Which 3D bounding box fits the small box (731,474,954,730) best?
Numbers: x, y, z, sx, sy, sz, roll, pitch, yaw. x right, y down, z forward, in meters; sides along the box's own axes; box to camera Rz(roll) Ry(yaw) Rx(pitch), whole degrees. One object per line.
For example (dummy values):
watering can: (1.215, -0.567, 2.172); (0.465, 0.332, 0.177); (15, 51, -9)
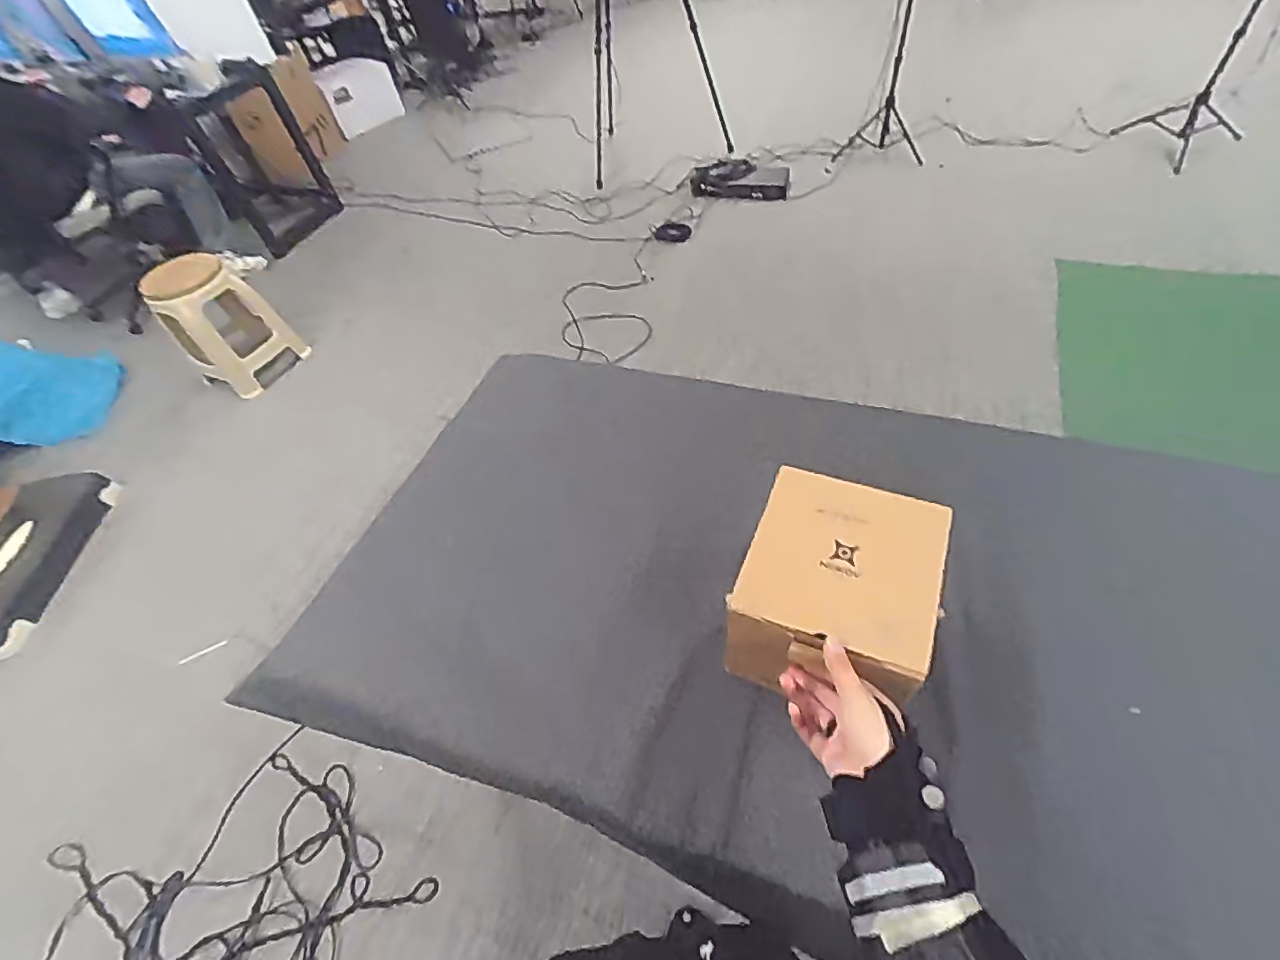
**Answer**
small box: (0.199, 0.127, 0.556); (0.168, 0.176, 0.179); (16, 55, 20)
